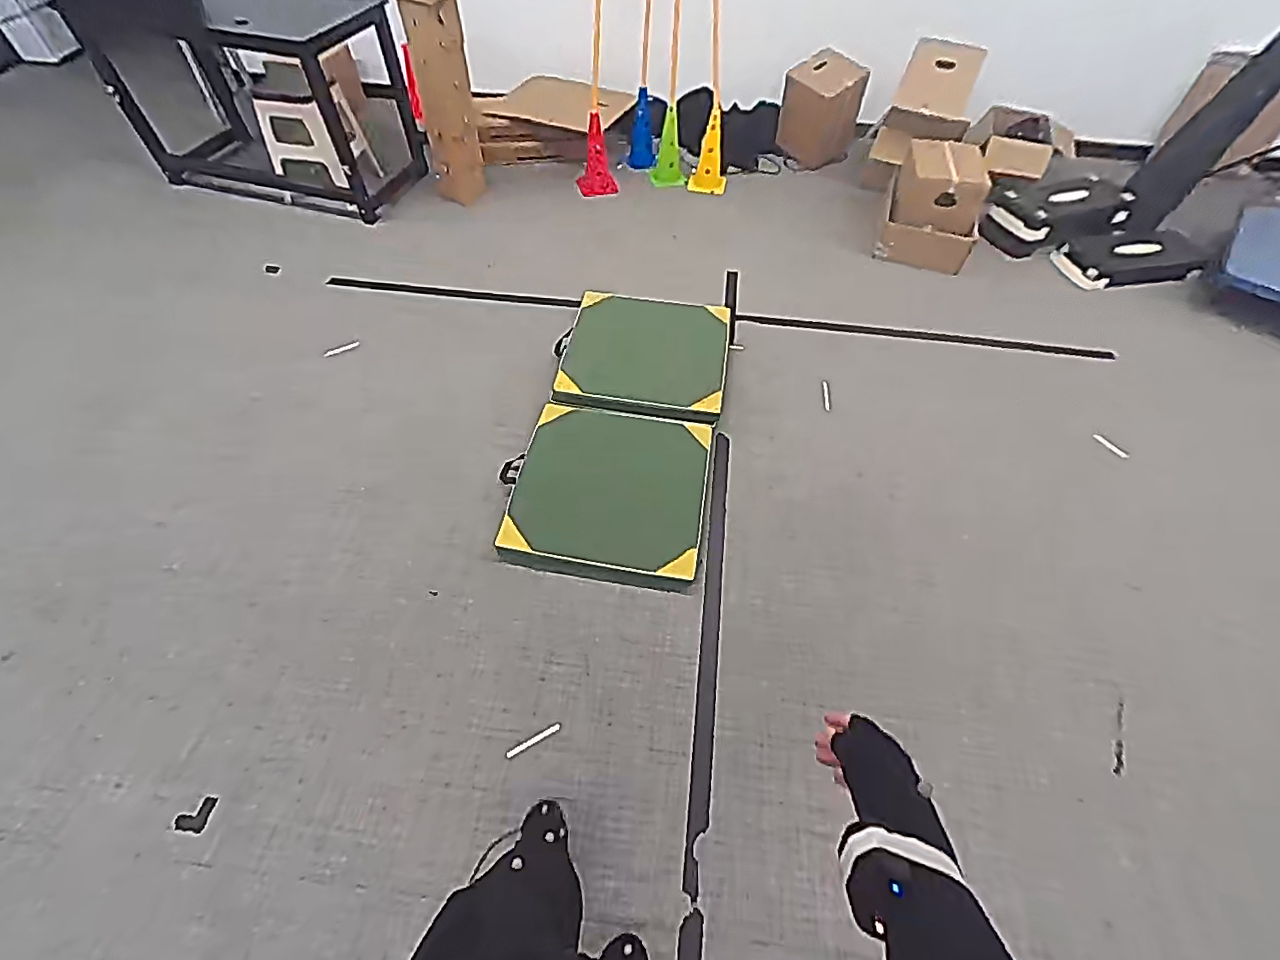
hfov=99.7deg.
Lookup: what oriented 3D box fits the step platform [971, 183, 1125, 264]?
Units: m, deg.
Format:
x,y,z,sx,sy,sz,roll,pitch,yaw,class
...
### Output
x,y,z,sx,sy,sz,roll,pitch,yaw,class
2.059,-1.302,2.727,0.684,0.204,0.286,-17,57,-14,step platform
